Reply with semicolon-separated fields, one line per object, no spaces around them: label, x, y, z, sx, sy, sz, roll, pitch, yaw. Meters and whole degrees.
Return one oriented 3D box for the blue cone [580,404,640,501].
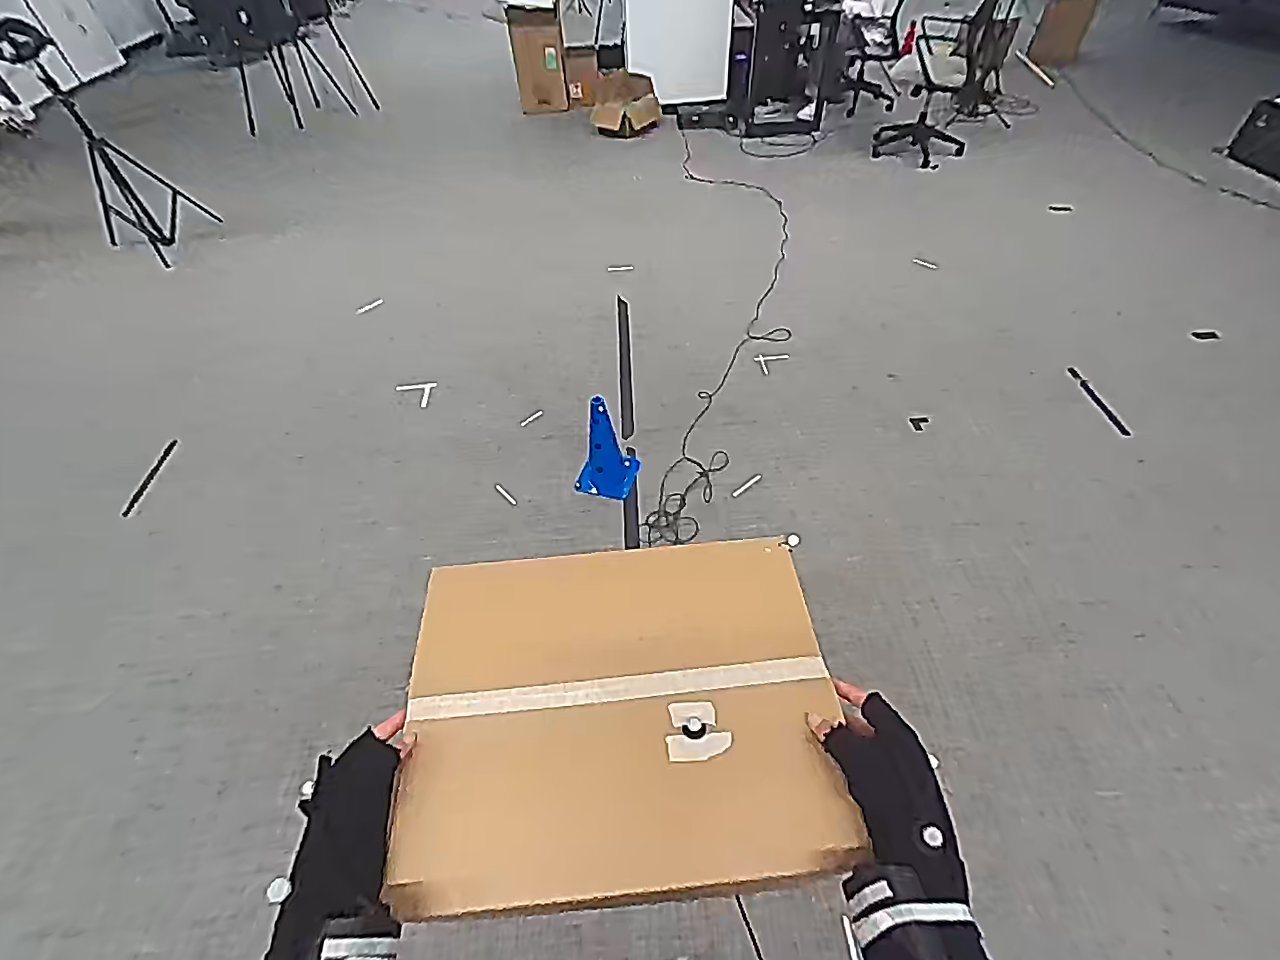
blue cone;-0.118;-0.116;1.859;0.193;0.380;0.192;12;52;15

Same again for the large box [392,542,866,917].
large box;-0.017;0.303;0.651;0.408;0.320;0.320;-5;51;-2
